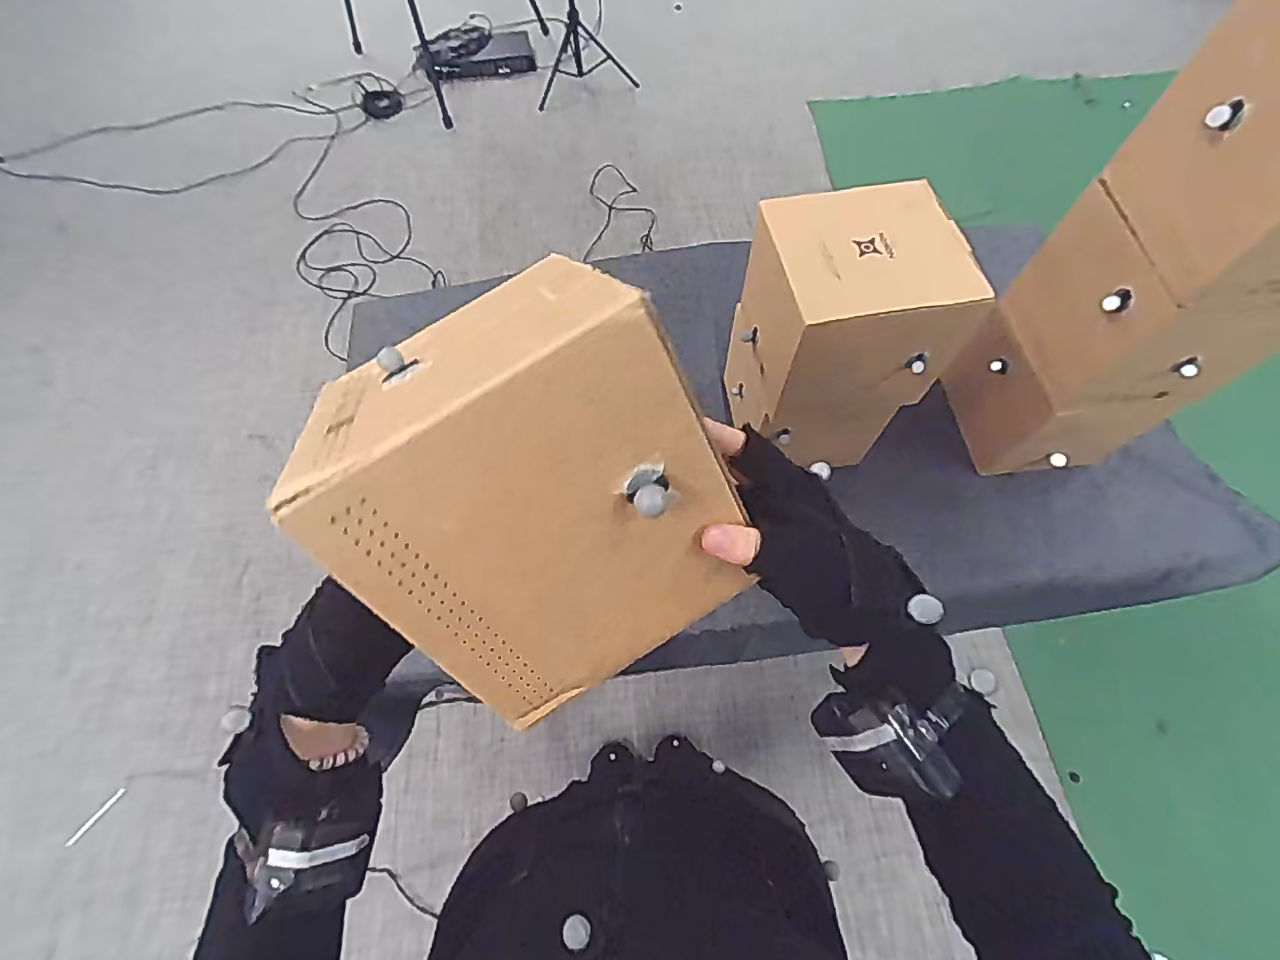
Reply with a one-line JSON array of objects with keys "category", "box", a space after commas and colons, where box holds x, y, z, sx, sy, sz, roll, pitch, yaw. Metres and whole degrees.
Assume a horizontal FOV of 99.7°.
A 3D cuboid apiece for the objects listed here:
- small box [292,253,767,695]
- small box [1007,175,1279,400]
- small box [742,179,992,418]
[{"category": "small box", "box": [-0.057, -0.005, 0.323, 0.176, 0.179, 0.168, -32, 34, -2]}, {"category": "small box", "box": [0.542, -0.198, 0.577, 0.168, 0.176, 0.179, -4, 65, 0]}, {"category": "small box", "box": [0.221, -0.186, 0.584, 0.179, 0.176, 0.168, -9, 64, -2]}]
